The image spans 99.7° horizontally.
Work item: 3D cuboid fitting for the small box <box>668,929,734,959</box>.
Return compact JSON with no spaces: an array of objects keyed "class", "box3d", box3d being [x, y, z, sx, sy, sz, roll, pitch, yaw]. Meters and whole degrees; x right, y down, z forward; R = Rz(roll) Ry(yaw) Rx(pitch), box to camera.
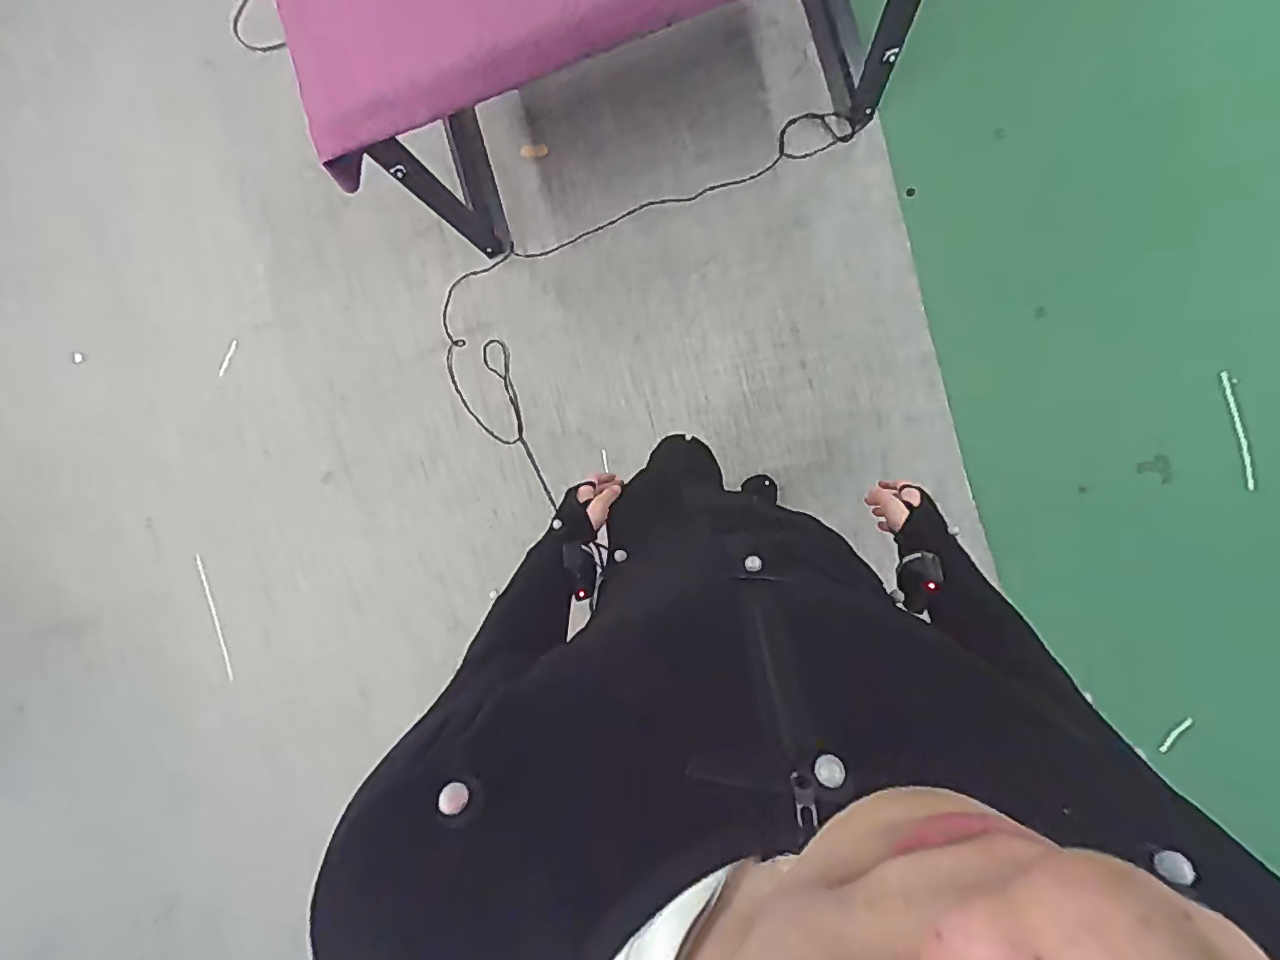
[{"class":"small box","box3d":[0.164,1.315,1.393,0.168,0.176,0.179,-8,90,10]}]
